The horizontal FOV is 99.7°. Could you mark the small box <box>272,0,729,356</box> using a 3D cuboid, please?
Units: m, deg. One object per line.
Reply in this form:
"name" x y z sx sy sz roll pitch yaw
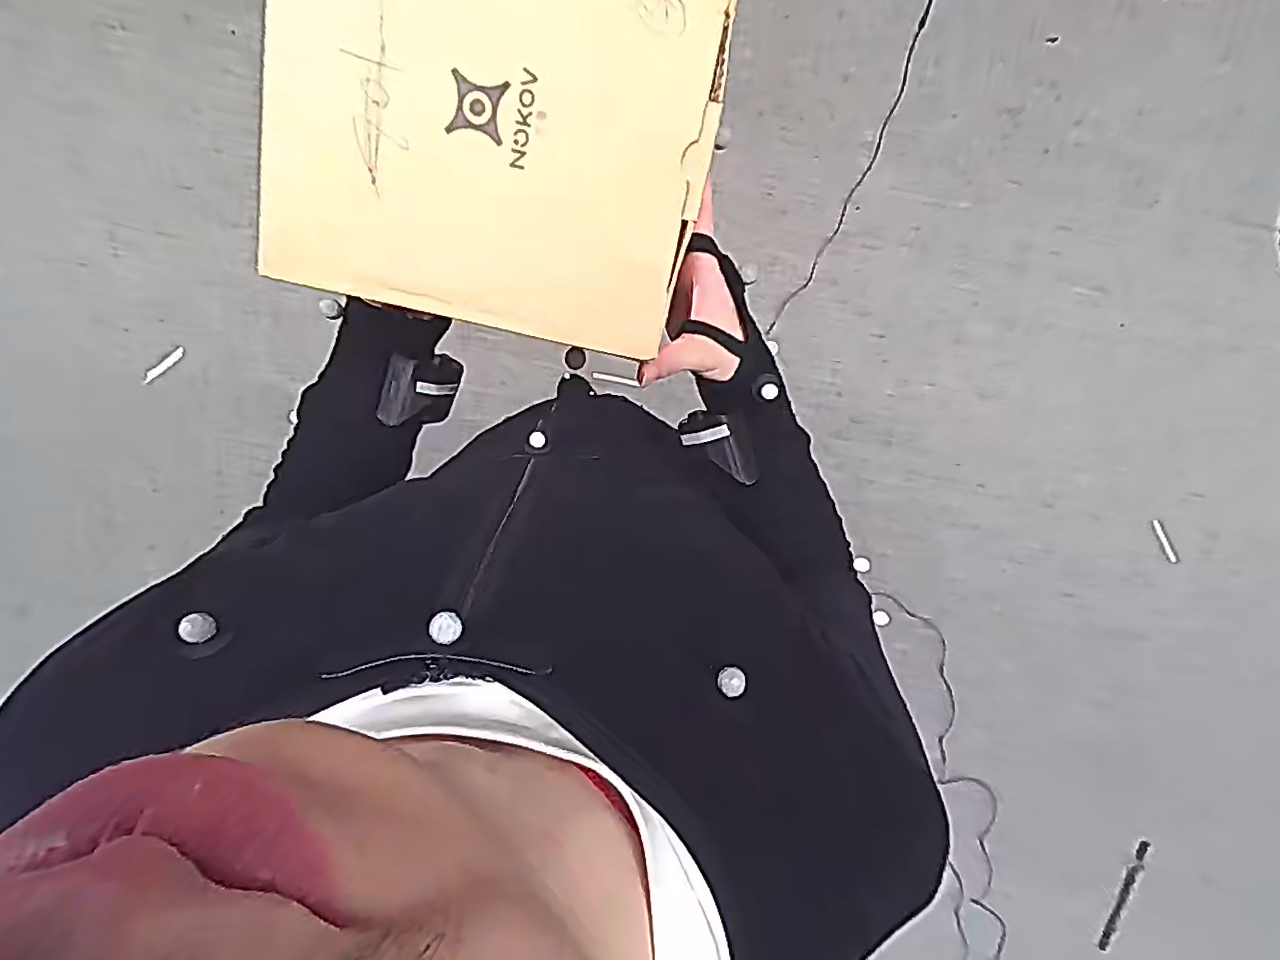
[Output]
"small box" -0.063 -0.173 0.305 0.179 0.176 0.168 12 104 -3
